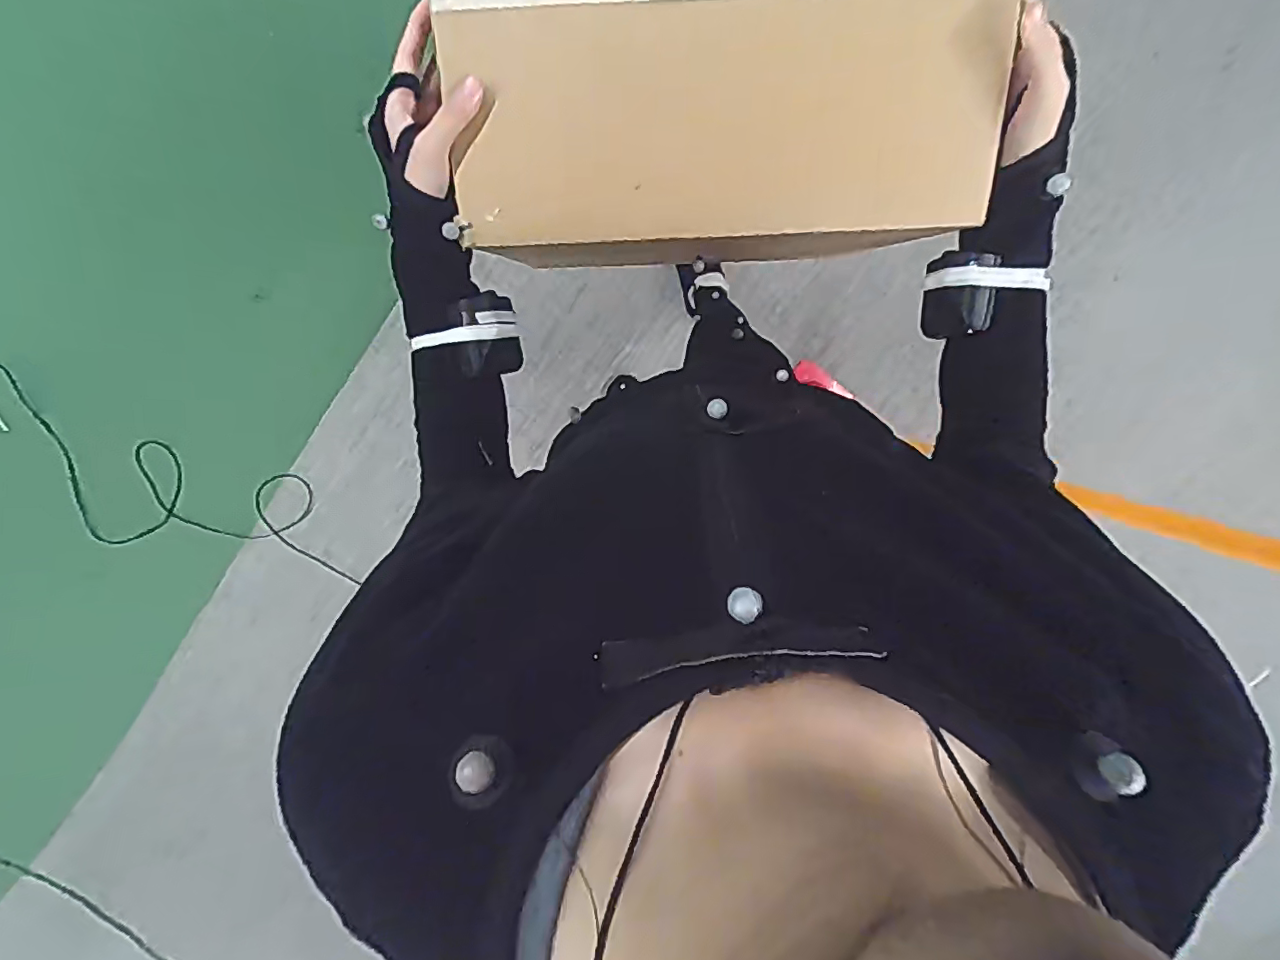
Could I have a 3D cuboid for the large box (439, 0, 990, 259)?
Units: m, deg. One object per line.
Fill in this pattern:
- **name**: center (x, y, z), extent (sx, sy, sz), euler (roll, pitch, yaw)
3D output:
- **large box**: center (0.055, -0.393, 0.525), extent (0.408, 0.320, 0.320), euler (-2, 109, 0)
